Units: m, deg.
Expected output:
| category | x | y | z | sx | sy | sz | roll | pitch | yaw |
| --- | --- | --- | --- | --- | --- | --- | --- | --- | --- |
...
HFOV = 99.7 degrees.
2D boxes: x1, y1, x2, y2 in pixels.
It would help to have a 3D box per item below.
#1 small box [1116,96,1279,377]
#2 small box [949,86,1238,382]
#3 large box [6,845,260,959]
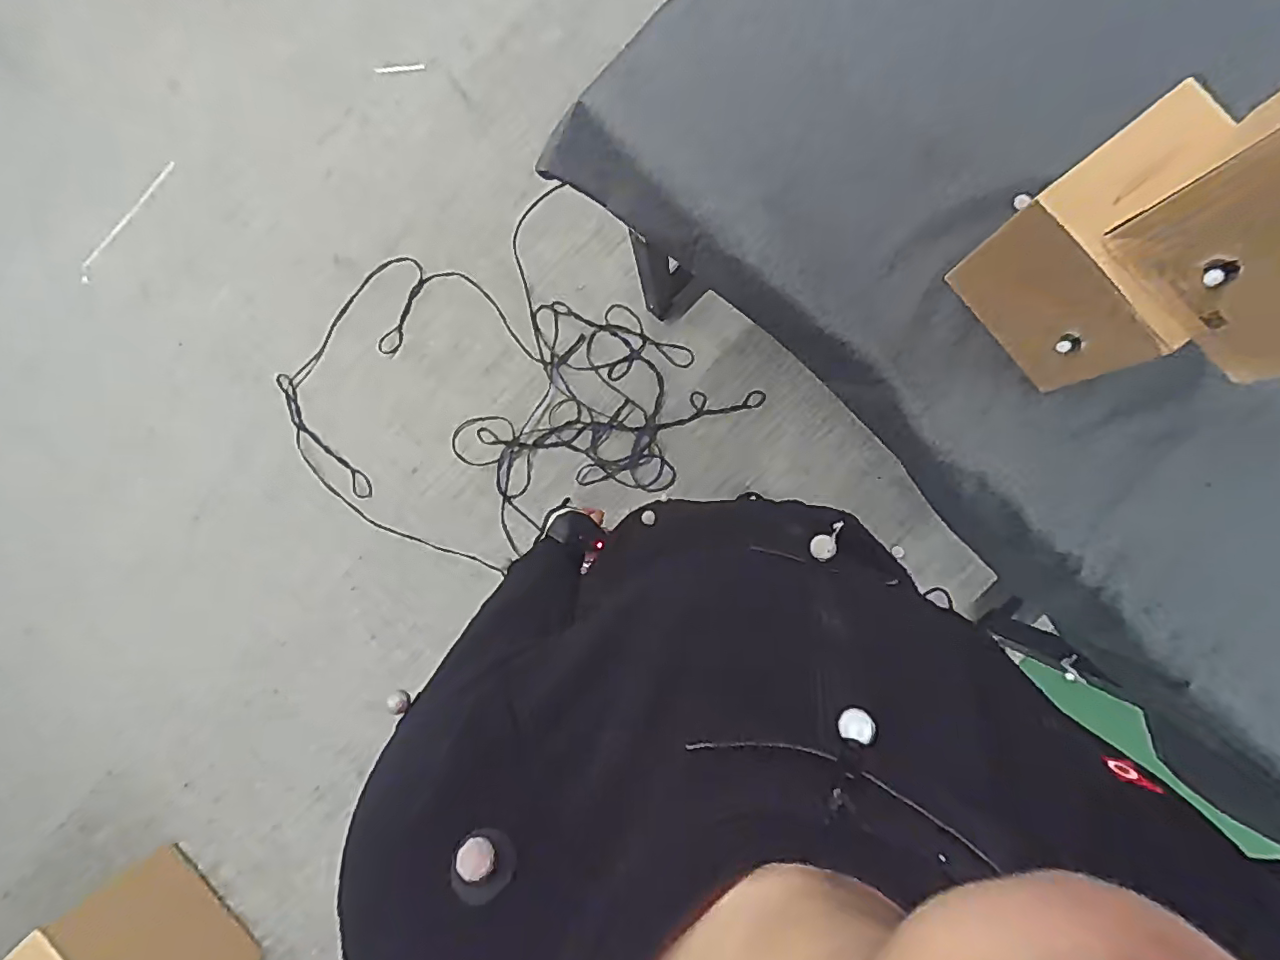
| category | x | y | z | sx | sy | sz | roll | pitch | yaw |
| --- | --- | --- | --- | --- | --- | --- | --- | --- | --- |
| small box | 0.499 | -0.197 | 0.365 | 0.179 | 0.176 | 0.168 | -40 | 86 | 2 |
| small box | 0.457 | -0.215 | 0.532 | 0.168 | 0.176 | 0.179 | -38 | 84 | 1 |
| large box | -1.252 | 1.220 | 1.302 | 0.408 | 0.320 | 0.320 | 44 | 92 | 6 |
